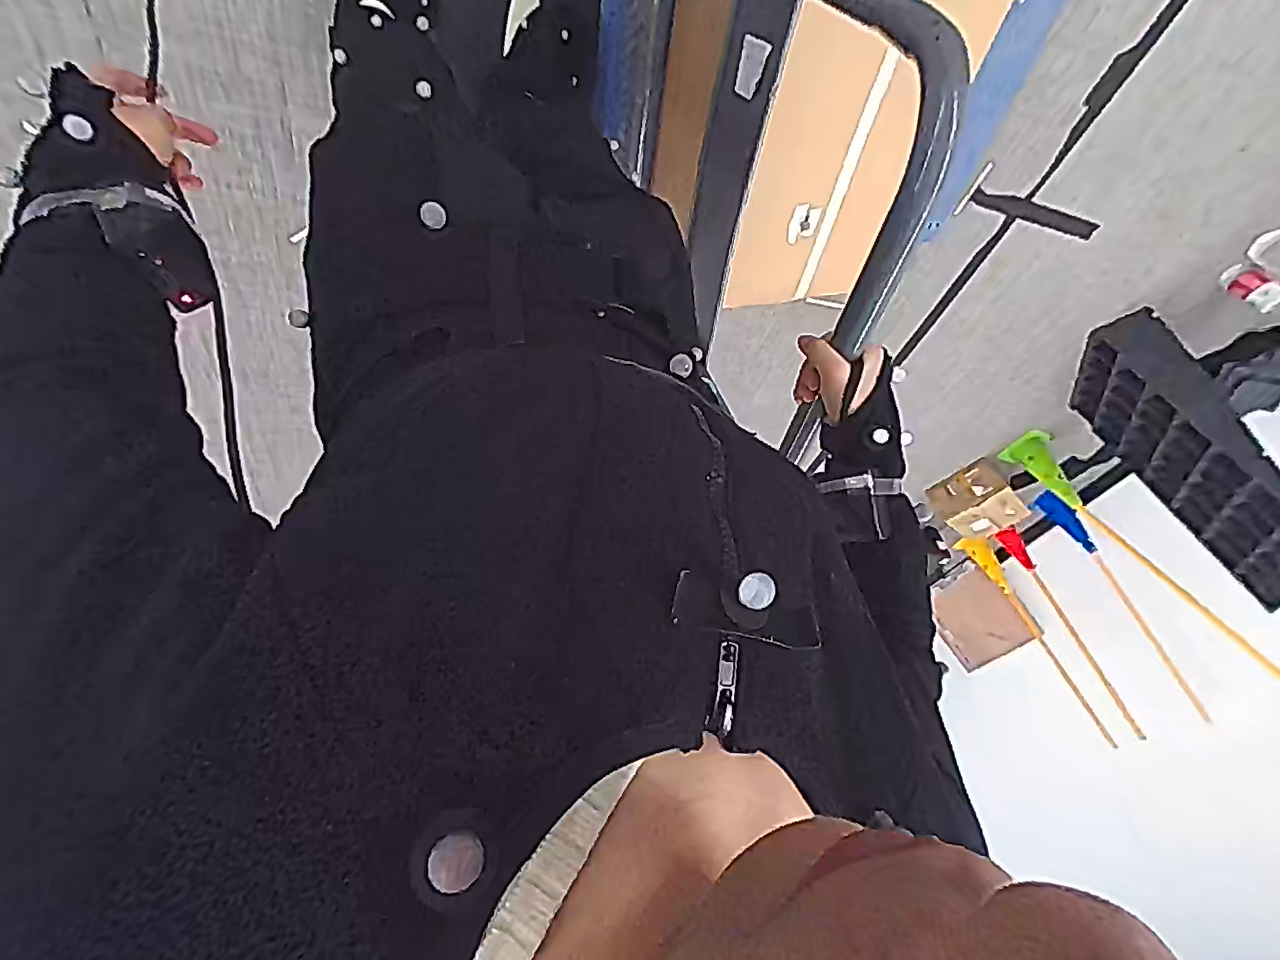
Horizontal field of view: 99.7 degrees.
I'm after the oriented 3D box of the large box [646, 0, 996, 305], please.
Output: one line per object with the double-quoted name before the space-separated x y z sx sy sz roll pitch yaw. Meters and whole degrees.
"large box" 0.223 -0.550 0.845 0.320 0.320 0.408 -12 145 -18
